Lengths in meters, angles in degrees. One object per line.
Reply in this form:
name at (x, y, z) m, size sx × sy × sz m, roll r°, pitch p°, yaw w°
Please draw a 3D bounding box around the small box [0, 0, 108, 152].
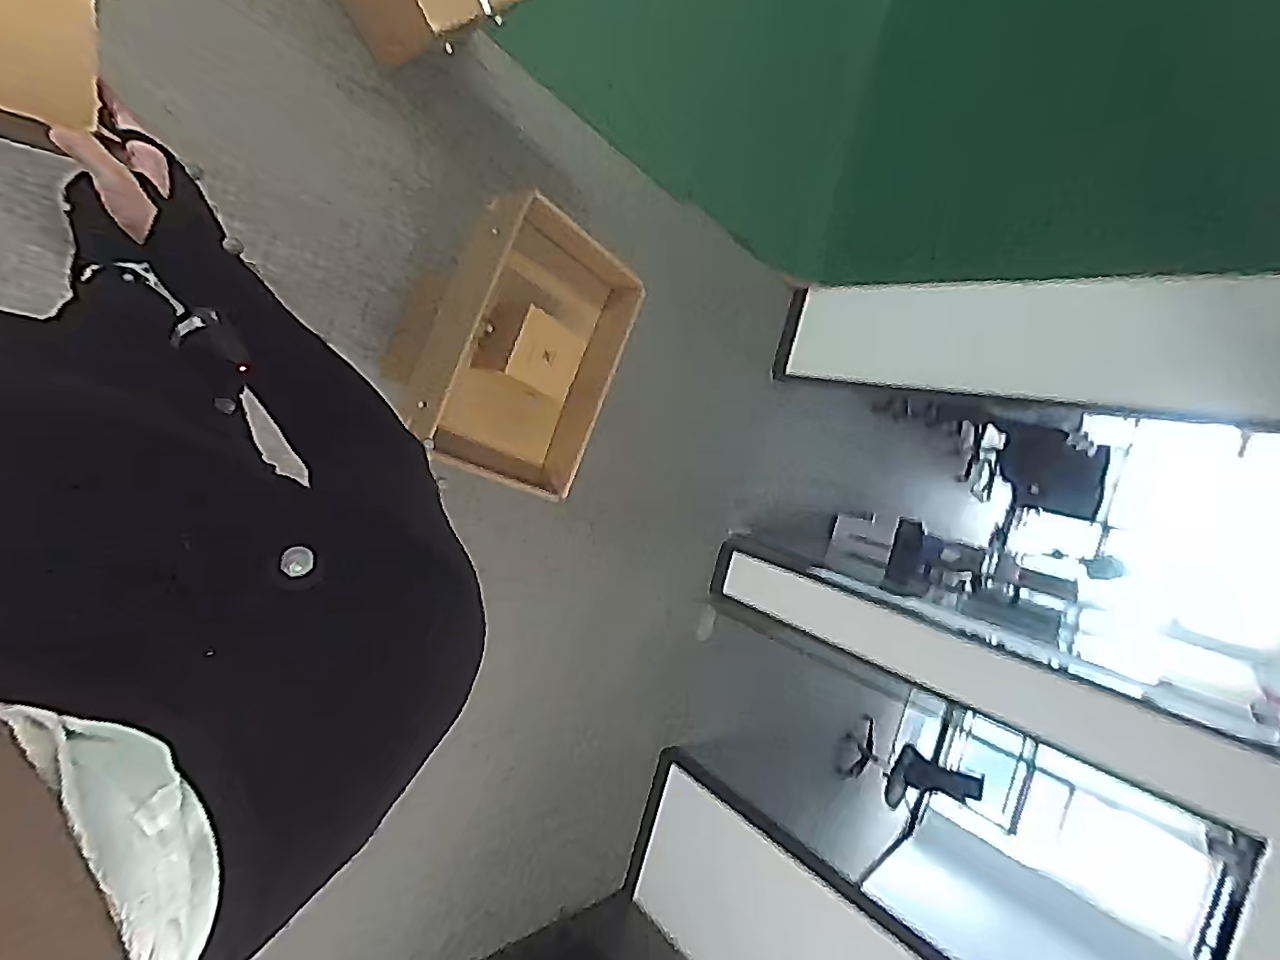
small box at (-0.536, -0.386, 0.420) m, size 0.168 × 0.176 × 0.179 m, roll -3°, pitch 109°, yaw -46°
